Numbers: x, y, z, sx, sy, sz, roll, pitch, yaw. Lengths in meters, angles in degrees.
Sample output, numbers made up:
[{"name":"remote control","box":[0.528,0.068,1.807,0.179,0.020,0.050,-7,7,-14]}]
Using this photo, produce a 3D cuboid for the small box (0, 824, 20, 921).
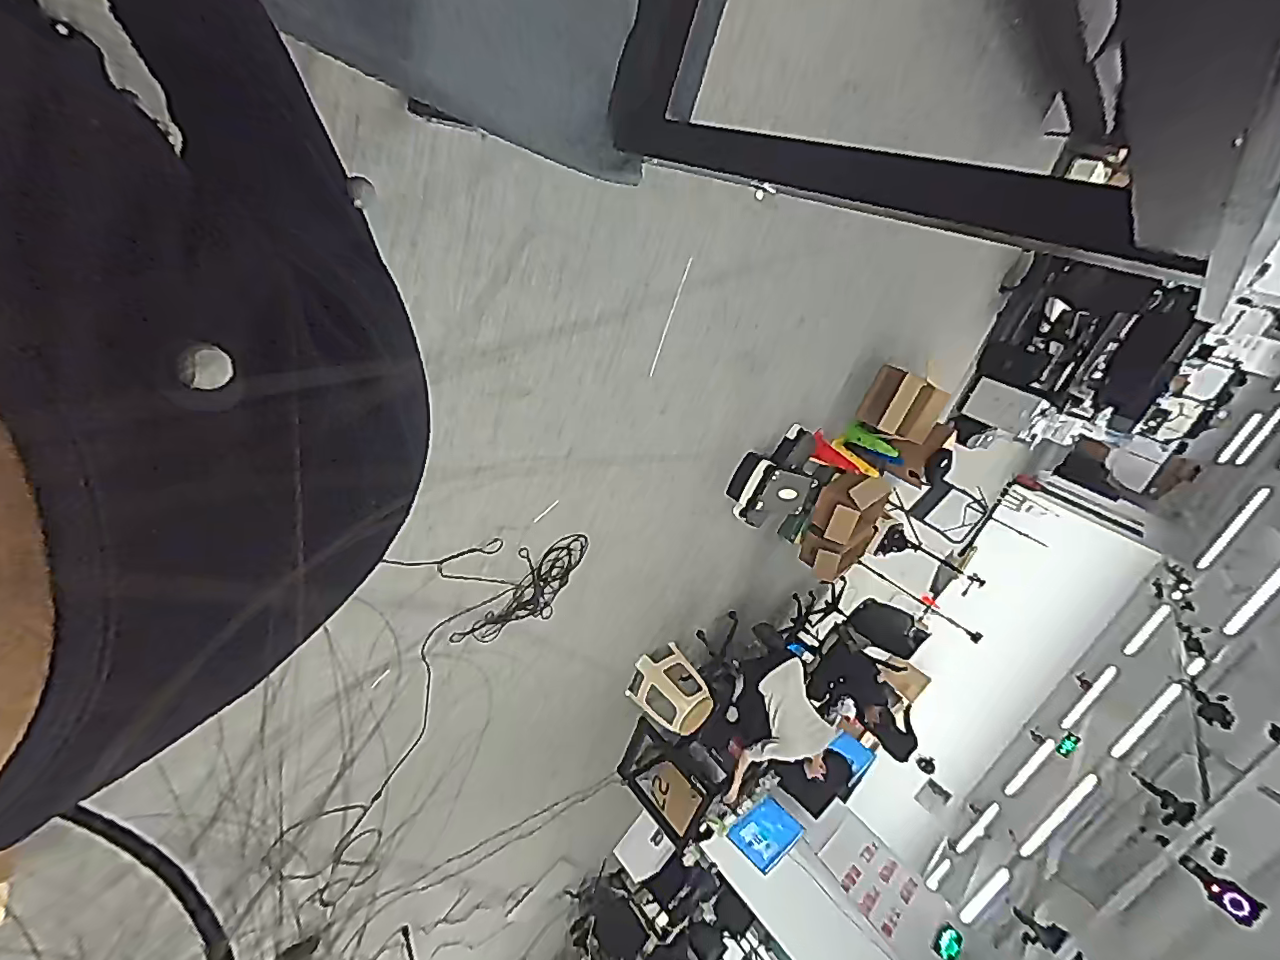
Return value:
[{"name":"small box","box":[-1.679,1.000,1.346,0.168,0.176,0.179,7,114,-49]}]
